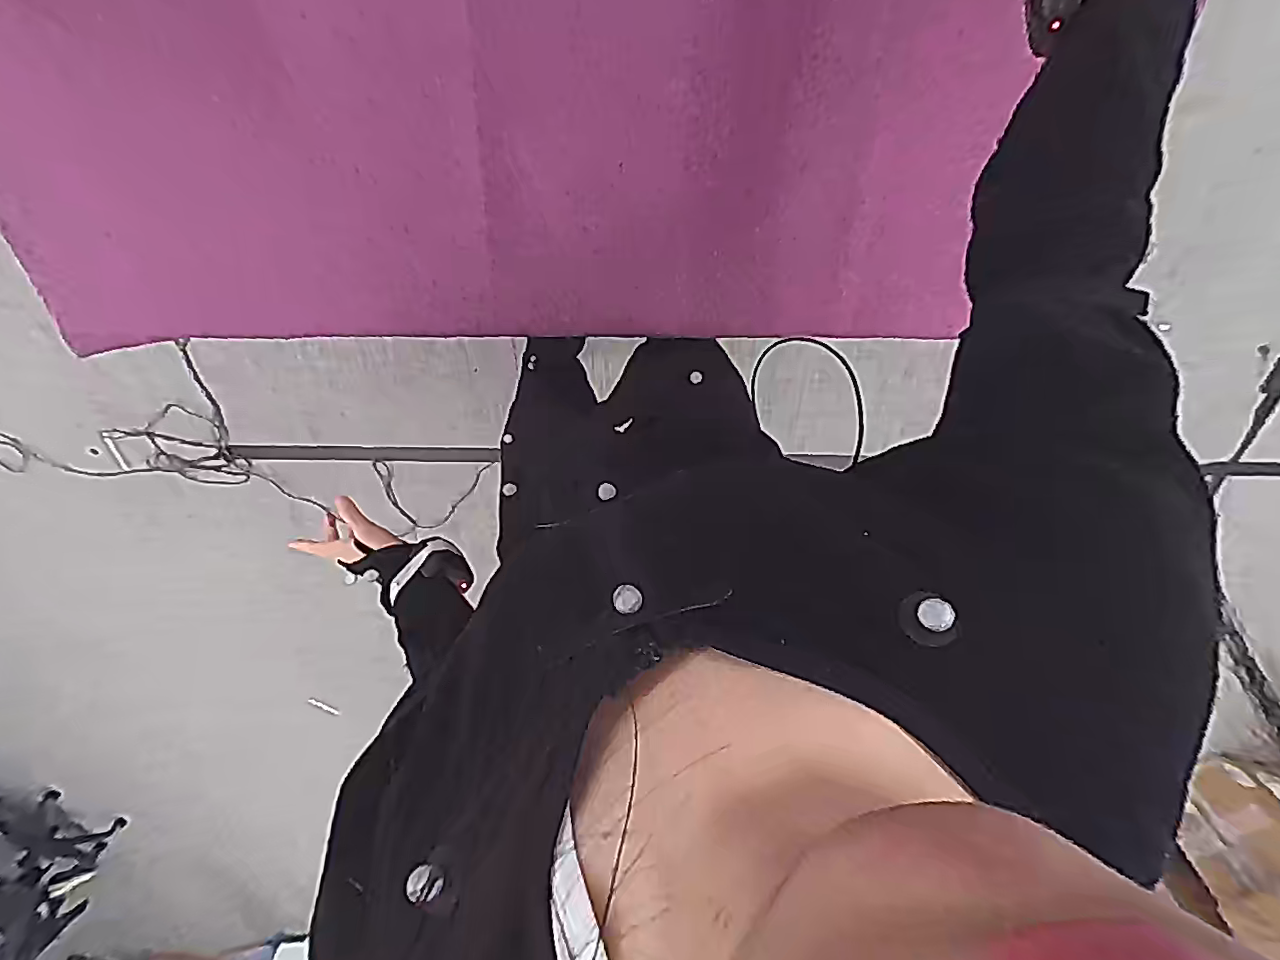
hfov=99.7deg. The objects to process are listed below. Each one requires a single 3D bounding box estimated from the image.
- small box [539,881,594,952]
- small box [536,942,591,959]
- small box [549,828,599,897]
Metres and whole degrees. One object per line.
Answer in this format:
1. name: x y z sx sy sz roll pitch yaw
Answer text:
1. small box: -0.243 1.476 1.818 0.168 0.176 0.179 2 125 -1
2. small box: -0.246 1.573 1.687 0.168 0.176 0.179 3 126 1
3. small box: -0.238 1.386 1.953 0.168 0.176 0.179 5 124 -2
